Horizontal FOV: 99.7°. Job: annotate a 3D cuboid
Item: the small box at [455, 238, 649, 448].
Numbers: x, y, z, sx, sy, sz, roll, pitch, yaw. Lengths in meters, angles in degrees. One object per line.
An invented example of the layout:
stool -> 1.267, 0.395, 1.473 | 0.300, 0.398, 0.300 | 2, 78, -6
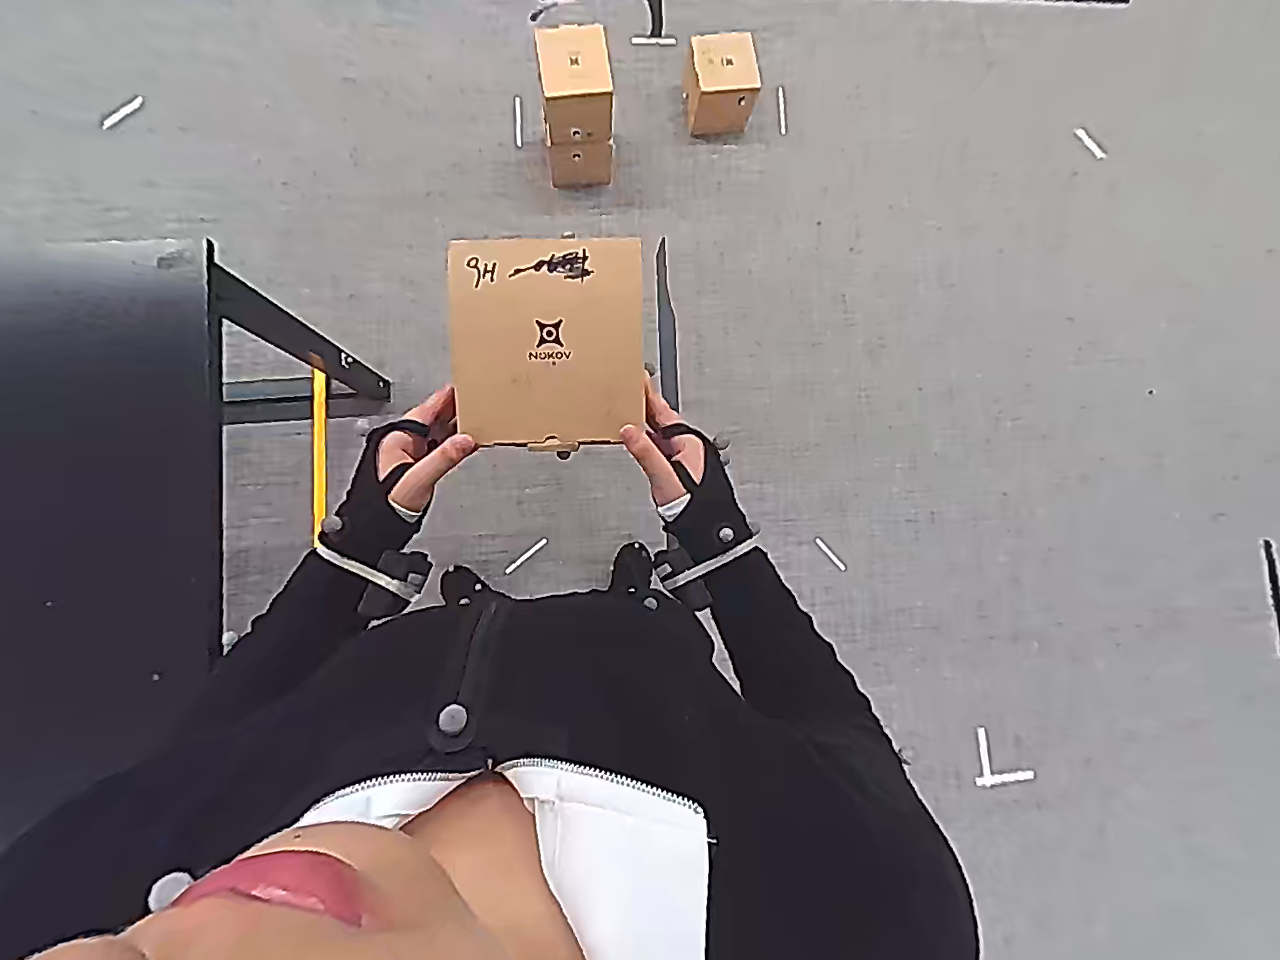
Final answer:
small box -> -0.074, -0.127, 0.544 | 0.168, 0.176, 0.179 | -1, 96, -1

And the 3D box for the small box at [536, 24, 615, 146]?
small box -> -0.159, -0.980, 1.352 | 0.168, 0.176, 0.179 | -9, 87, -4

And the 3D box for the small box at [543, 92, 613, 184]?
small box -> -0.170, -0.955, 1.513 | 0.179, 0.176, 0.168 | -6, 86, -5

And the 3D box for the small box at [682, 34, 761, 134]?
small box -> 0.230, -1.137, 1.562 | 0.179, 0.176, 0.168 | -9, 86, -5
